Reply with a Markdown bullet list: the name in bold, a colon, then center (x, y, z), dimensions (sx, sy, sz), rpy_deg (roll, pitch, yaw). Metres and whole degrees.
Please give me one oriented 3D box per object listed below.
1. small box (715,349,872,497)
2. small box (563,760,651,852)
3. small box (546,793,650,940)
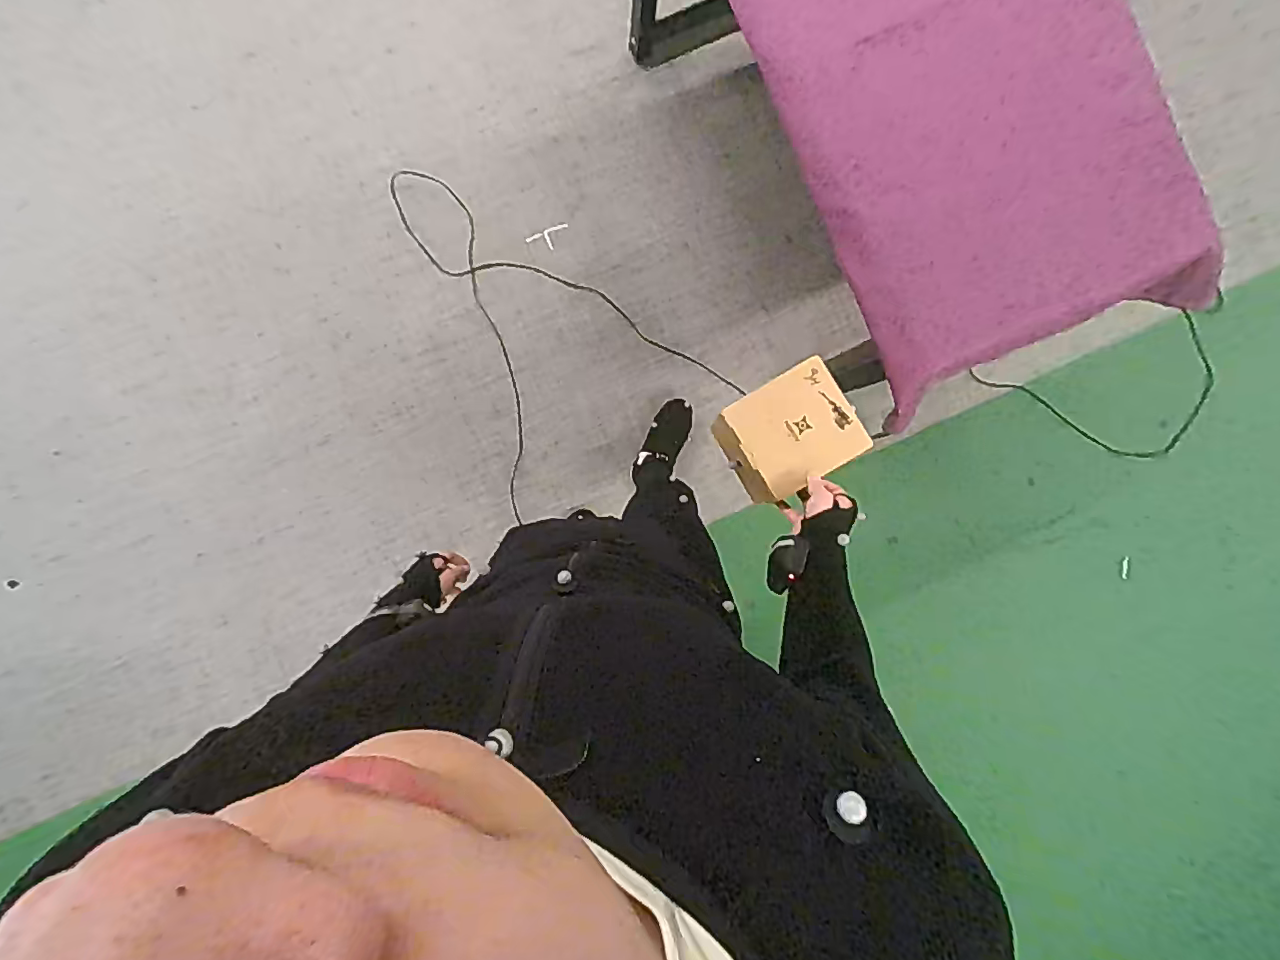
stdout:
- **small box**: center (0.235, -0.080, 0.886), dimensions (0.179, 0.176, 0.168), rpy_deg (-31, 86, 0)
- **small box**: center (-0.086, 0.859, 1.395), dimensions (0.168, 0.176, 0.179), rpy_deg (-25, 92, -2)
- **small box**: center (-0.090, 0.867, 1.232), dimensions (0.168, 0.176, 0.179), rpy_deg (-30, 91, -2)
